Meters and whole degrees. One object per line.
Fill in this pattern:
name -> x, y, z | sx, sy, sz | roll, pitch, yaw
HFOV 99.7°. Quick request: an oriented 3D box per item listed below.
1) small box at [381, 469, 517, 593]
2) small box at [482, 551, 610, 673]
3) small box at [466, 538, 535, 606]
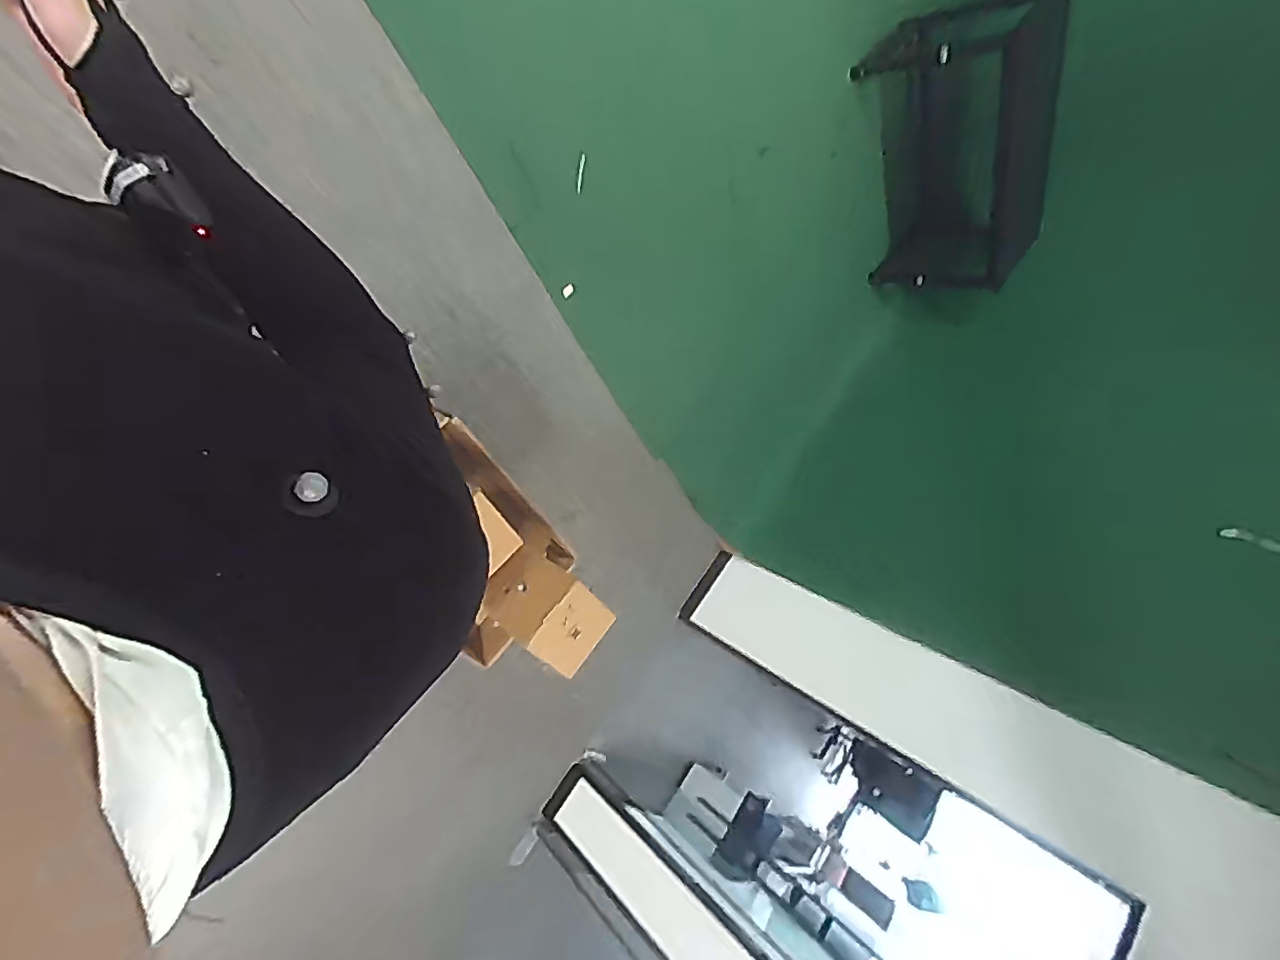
small box -> -0.400, 0.096, 1.128 | 0.168, 0.176, 0.179 | -46, 137, -20
small box -> -0.204, 0.281, 1.178 | 0.168, 0.176, 0.179 | -51, 134, -18
small box -> -0.311, 0.242, 1.299 | 0.168, 0.176, 0.179 | -49, 134, -18
